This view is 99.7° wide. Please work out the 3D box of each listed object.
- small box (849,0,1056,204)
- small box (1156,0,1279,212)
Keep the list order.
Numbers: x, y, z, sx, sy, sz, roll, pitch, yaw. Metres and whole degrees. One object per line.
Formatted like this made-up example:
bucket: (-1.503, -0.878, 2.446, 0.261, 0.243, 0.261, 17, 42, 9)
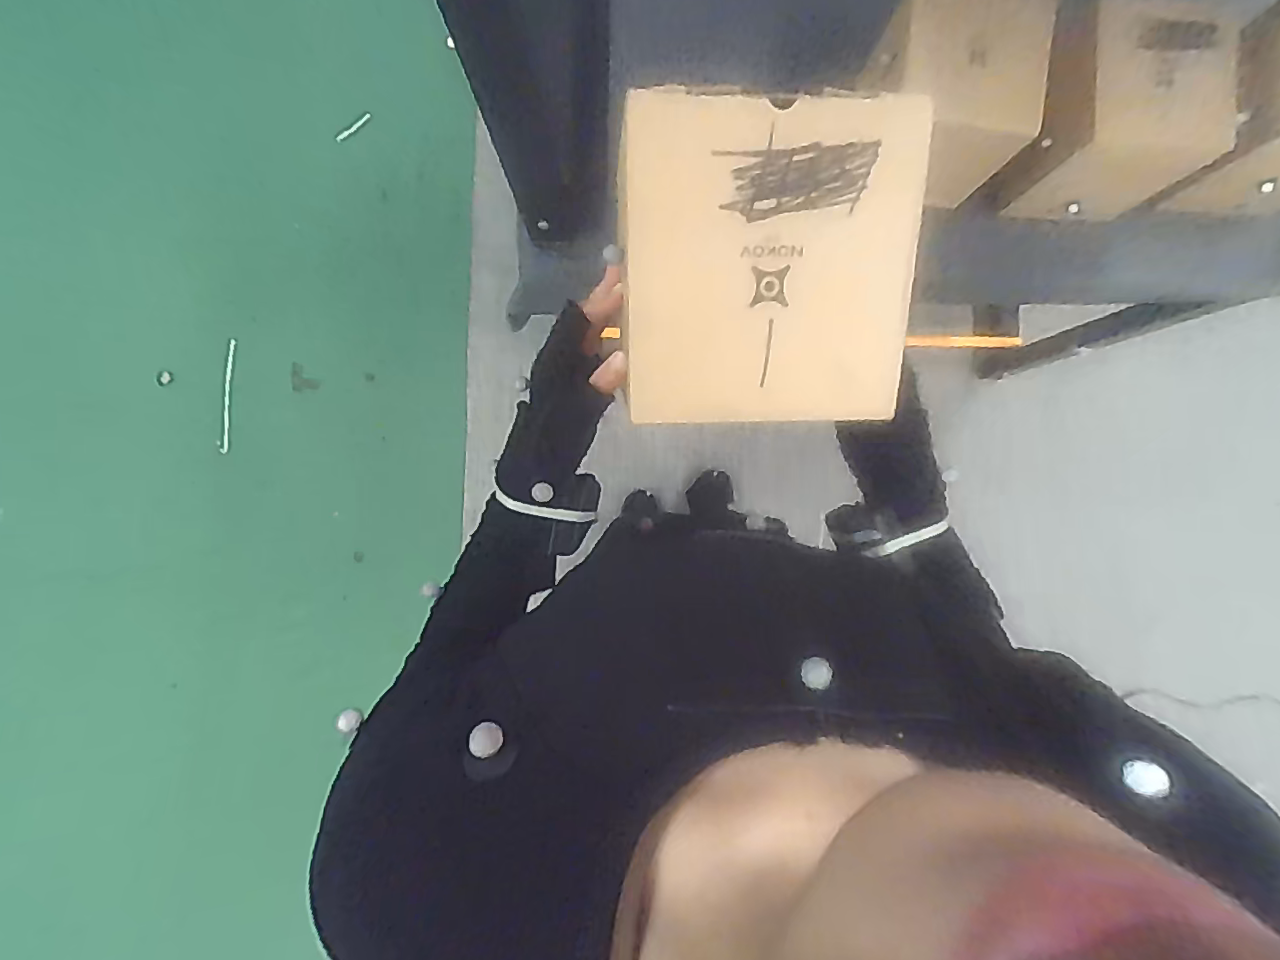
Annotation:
small box: (0.389, -0.491, 0.703, 0.168, 0.176, 0.179, 8, 88, -1)
small box: (0.830, -0.478, 0.704, 0.168, 0.176, 0.179, 4, 88, -1)
